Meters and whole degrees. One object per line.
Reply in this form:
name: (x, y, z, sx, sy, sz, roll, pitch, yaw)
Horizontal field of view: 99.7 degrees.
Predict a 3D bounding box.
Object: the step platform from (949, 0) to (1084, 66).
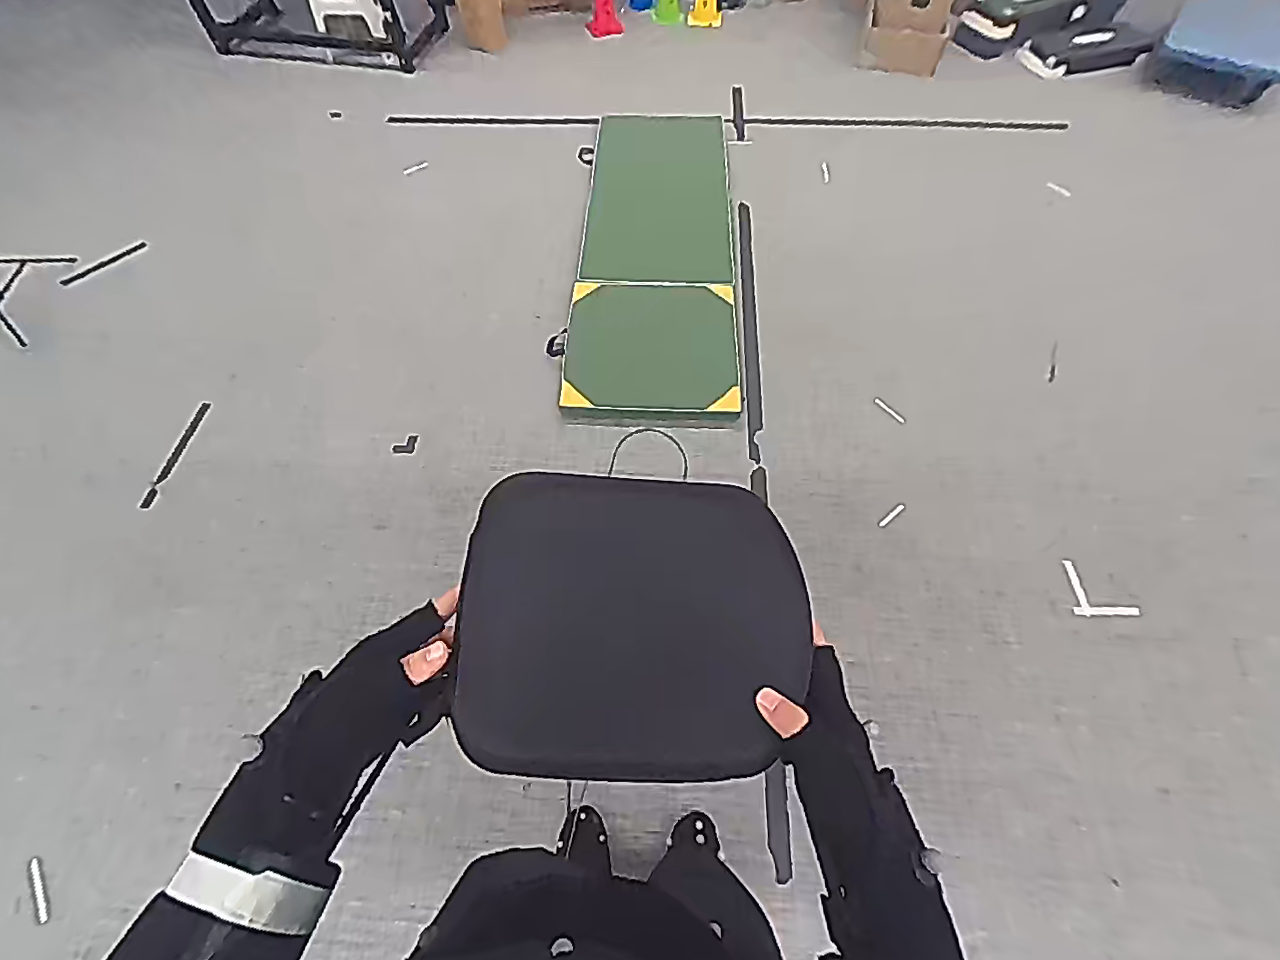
step platform: (2.111, -2.557, 3.033, 0.684, 0.204, 0.286, -24, 63, -12)
